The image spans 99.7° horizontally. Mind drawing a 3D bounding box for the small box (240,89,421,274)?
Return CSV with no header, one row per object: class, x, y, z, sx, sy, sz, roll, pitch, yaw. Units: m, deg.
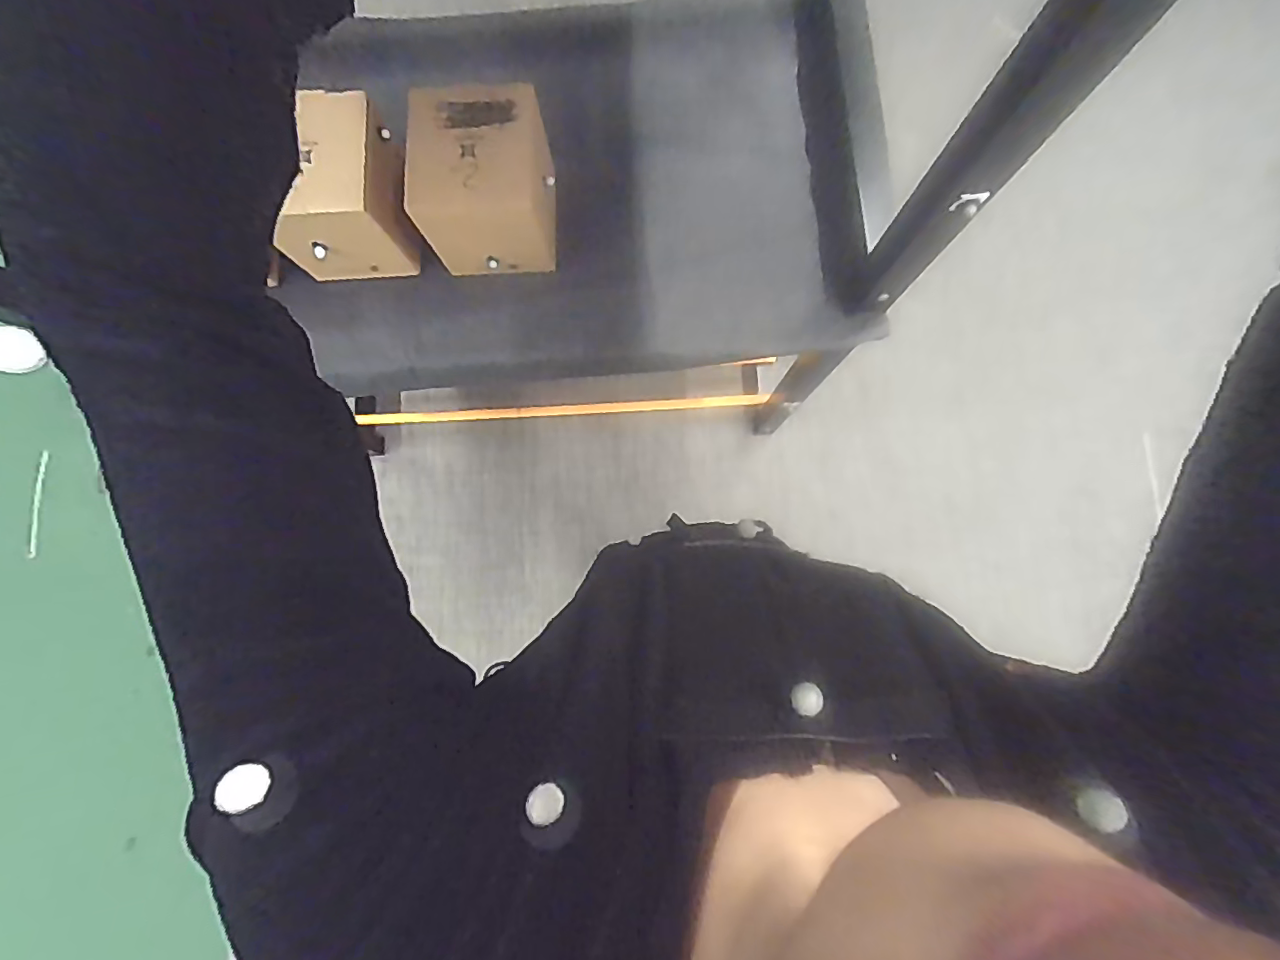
small box,-0.430,-0.413,0.778,0.168,0.176,0.179,-3,81,1
